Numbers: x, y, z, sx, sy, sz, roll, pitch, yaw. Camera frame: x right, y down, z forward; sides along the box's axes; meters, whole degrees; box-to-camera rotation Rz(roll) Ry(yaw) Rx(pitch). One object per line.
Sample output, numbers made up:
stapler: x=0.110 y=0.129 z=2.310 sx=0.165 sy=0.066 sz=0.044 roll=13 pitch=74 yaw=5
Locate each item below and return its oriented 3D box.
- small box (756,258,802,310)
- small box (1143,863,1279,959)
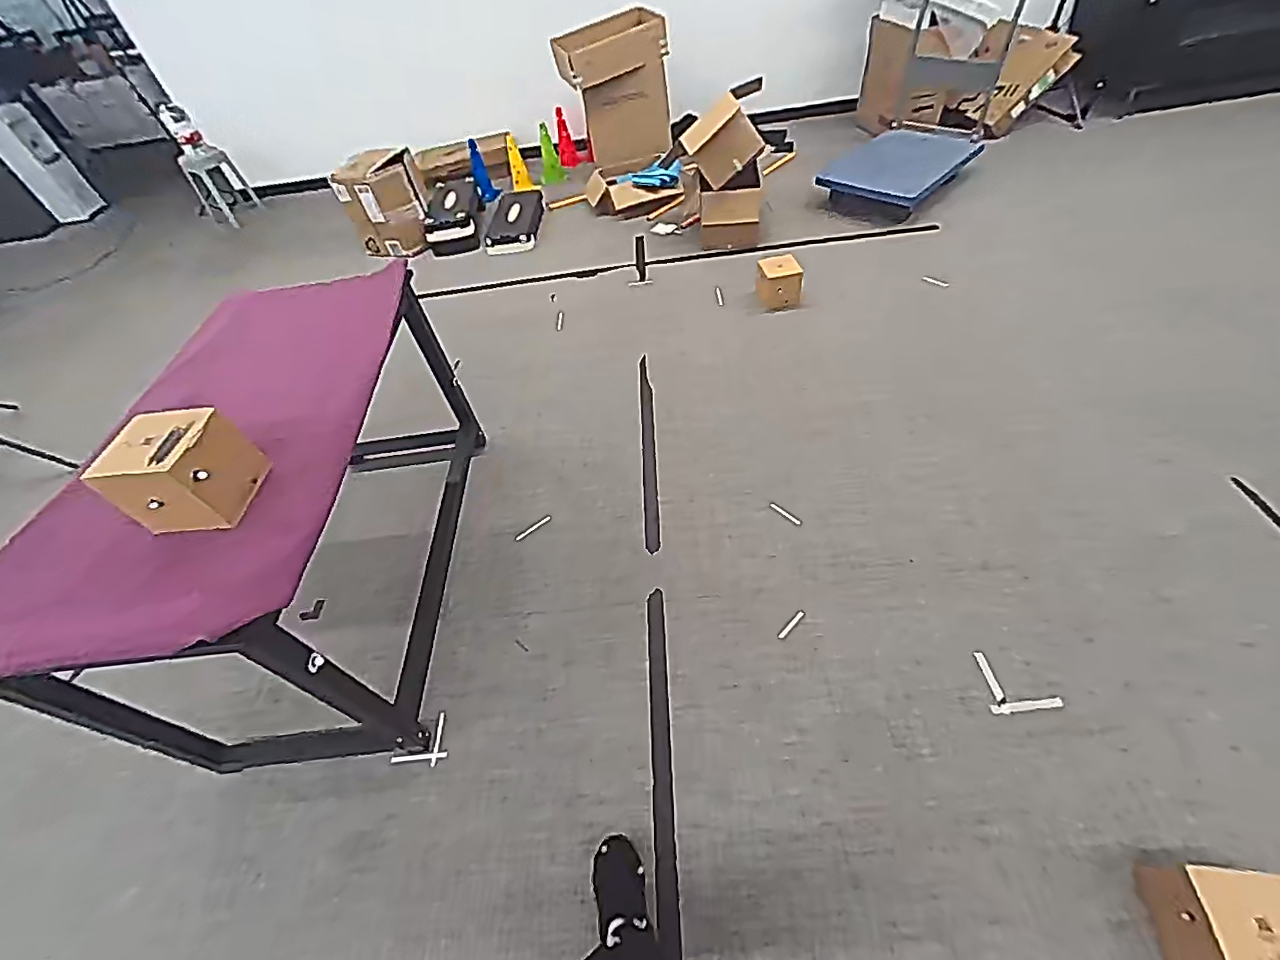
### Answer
small box: x=0.656 y=-0.924 z=2.567 sx=0.168 sy=0.176 sz=0.179 roll=-12 pitch=48 yaw=-1
small box: x=1.084 y=0.823 z=0.984 sx=0.168 sy=0.176 sz=0.179 roll=0 pitch=50 yaw=10
